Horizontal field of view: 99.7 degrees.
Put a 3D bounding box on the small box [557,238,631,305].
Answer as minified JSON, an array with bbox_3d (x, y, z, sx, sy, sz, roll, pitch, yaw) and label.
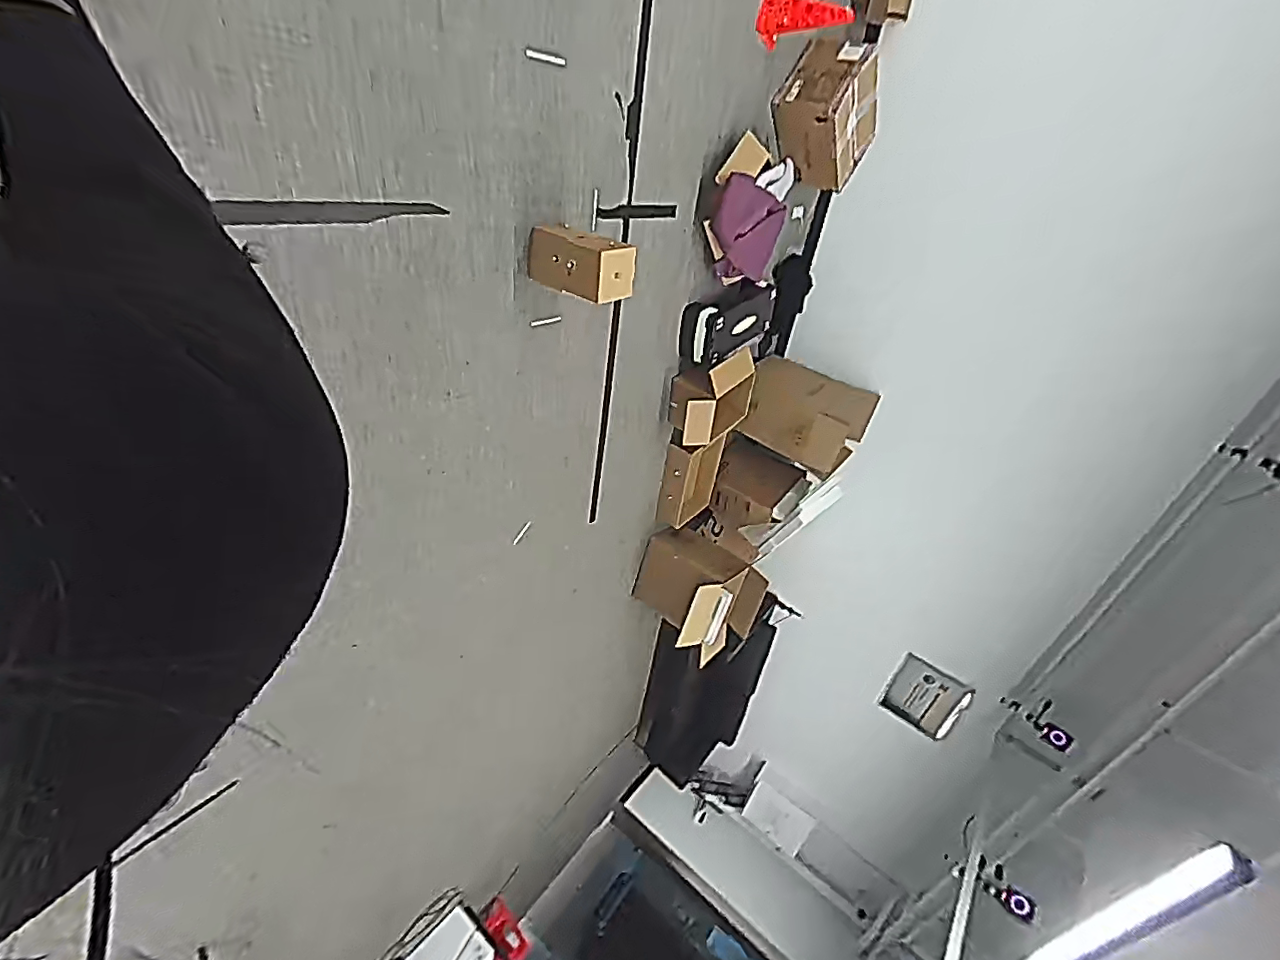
[{"bbox_3d":[-0.156,-0.705,1.813,0.179,0.176,0.168,-31,140,-42],"label":"small box"}]

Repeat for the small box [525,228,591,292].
[{"bbox_3d":[-0.283,-0.773,1.889,0.168,0.176,0.179,-28,140,-46],"label":"small box"}]
